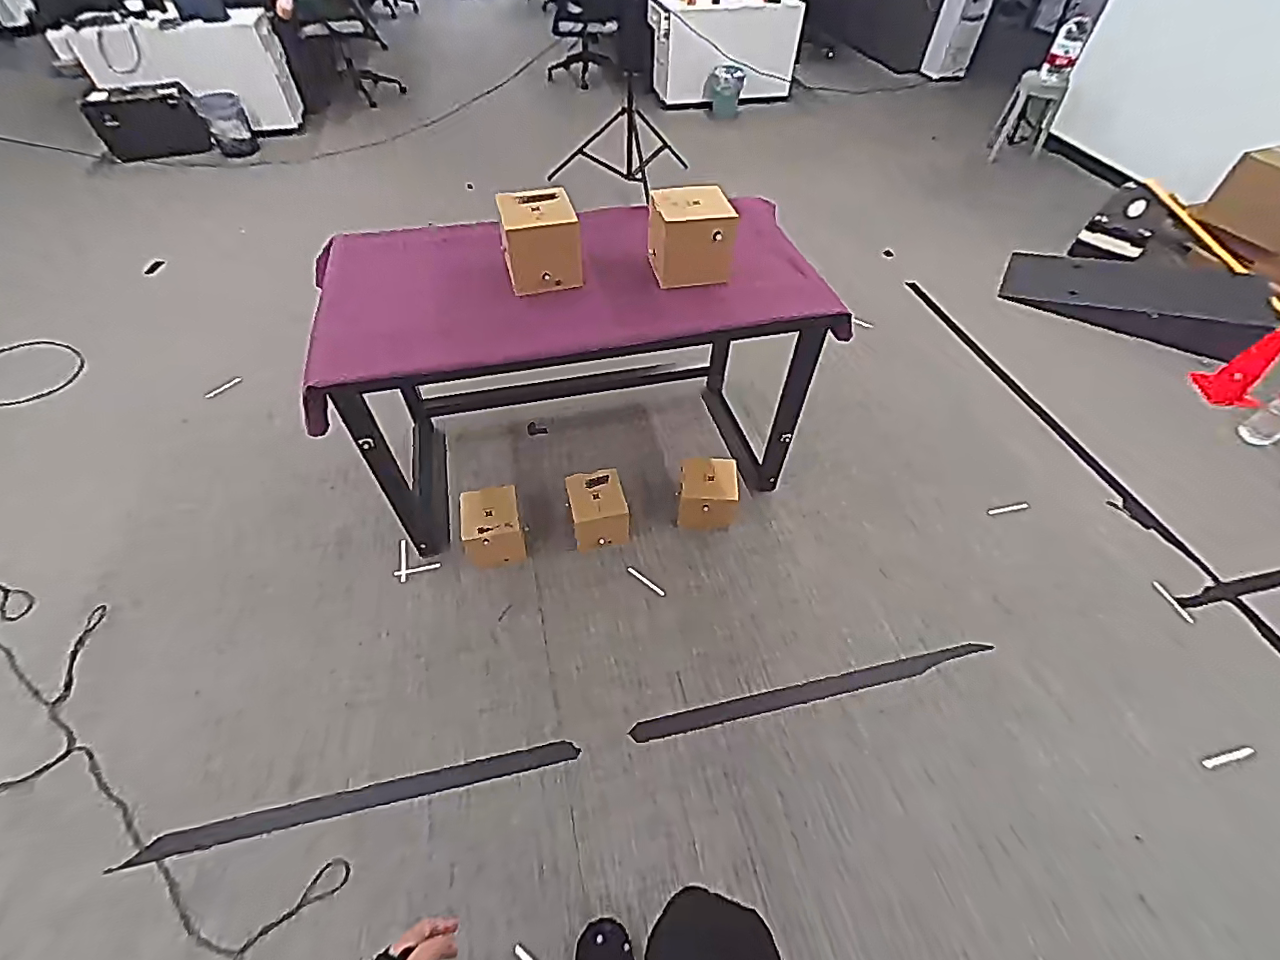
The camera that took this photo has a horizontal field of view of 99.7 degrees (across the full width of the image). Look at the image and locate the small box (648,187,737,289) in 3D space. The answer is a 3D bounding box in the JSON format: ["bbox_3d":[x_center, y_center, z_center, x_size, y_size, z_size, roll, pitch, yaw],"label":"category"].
[{"bbox_3d":[0.121,-0.593,1.327,0.179,0.176,0.168,-9,51,-8],"label":"small box"}]

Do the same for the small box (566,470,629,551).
[{"bbox_3d":[-0.135,0.098,1.702,0.168,0.176,0.179,-11,53,-10],"label":"small box"}]

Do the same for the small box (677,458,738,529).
[{"bbox_3d":[0.215,0.048,1.753,0.179,0.176,0.168,2,52,2],"label":"small box"}]

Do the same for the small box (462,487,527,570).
[{"bbox_3d":[-0.444,0.149,1.656,0.168,0.176,0.179,-9,51,-8],"label":"small box"}]
